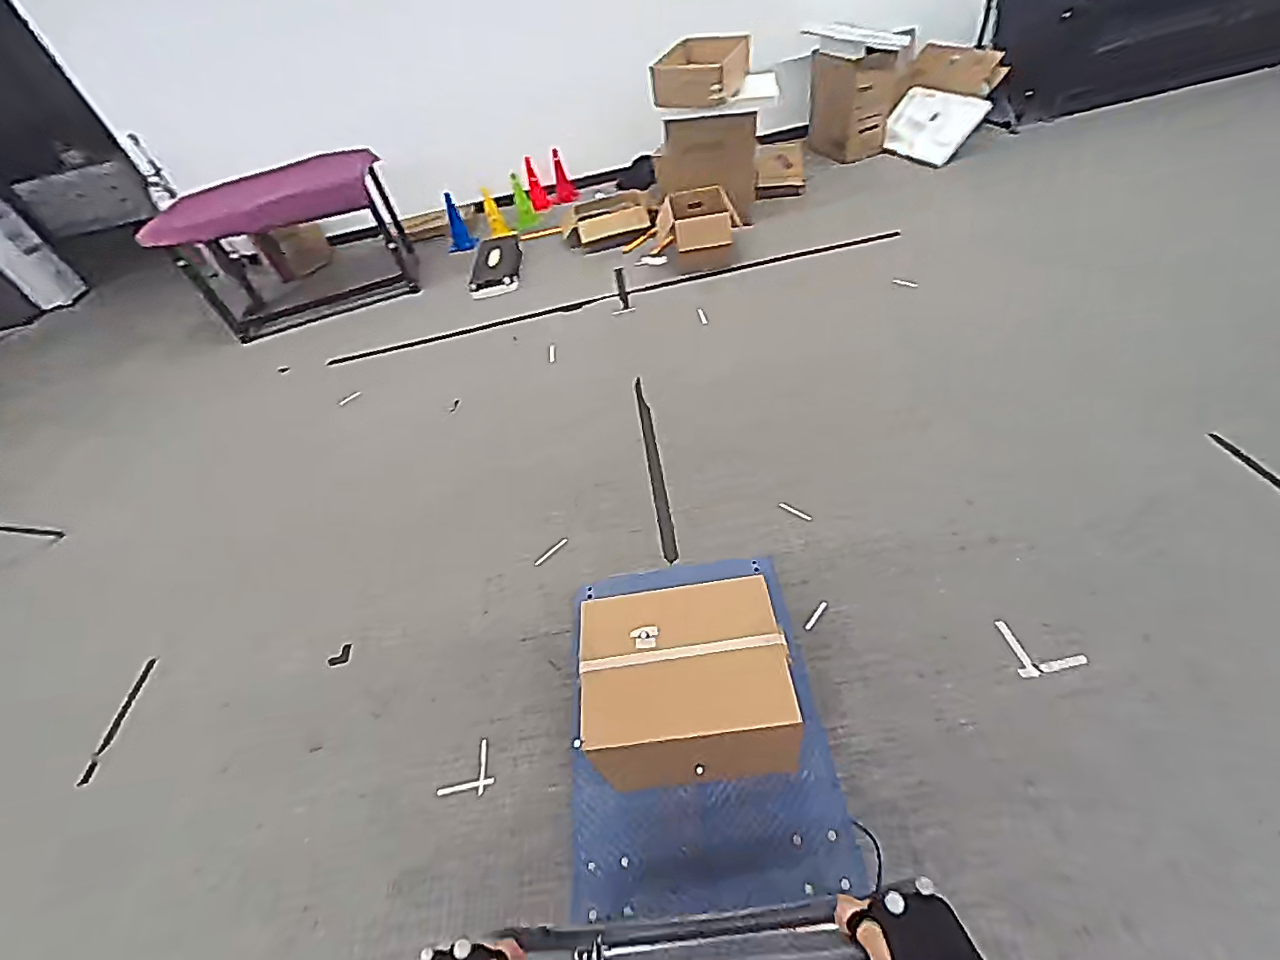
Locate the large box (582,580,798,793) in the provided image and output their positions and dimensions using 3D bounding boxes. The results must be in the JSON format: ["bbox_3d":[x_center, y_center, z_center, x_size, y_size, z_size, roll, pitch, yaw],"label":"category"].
[{"bbox_3d":[0.107,0.463,1.198,0.408,0.320,0.320,-11,45,5],"label":"large box"}]
